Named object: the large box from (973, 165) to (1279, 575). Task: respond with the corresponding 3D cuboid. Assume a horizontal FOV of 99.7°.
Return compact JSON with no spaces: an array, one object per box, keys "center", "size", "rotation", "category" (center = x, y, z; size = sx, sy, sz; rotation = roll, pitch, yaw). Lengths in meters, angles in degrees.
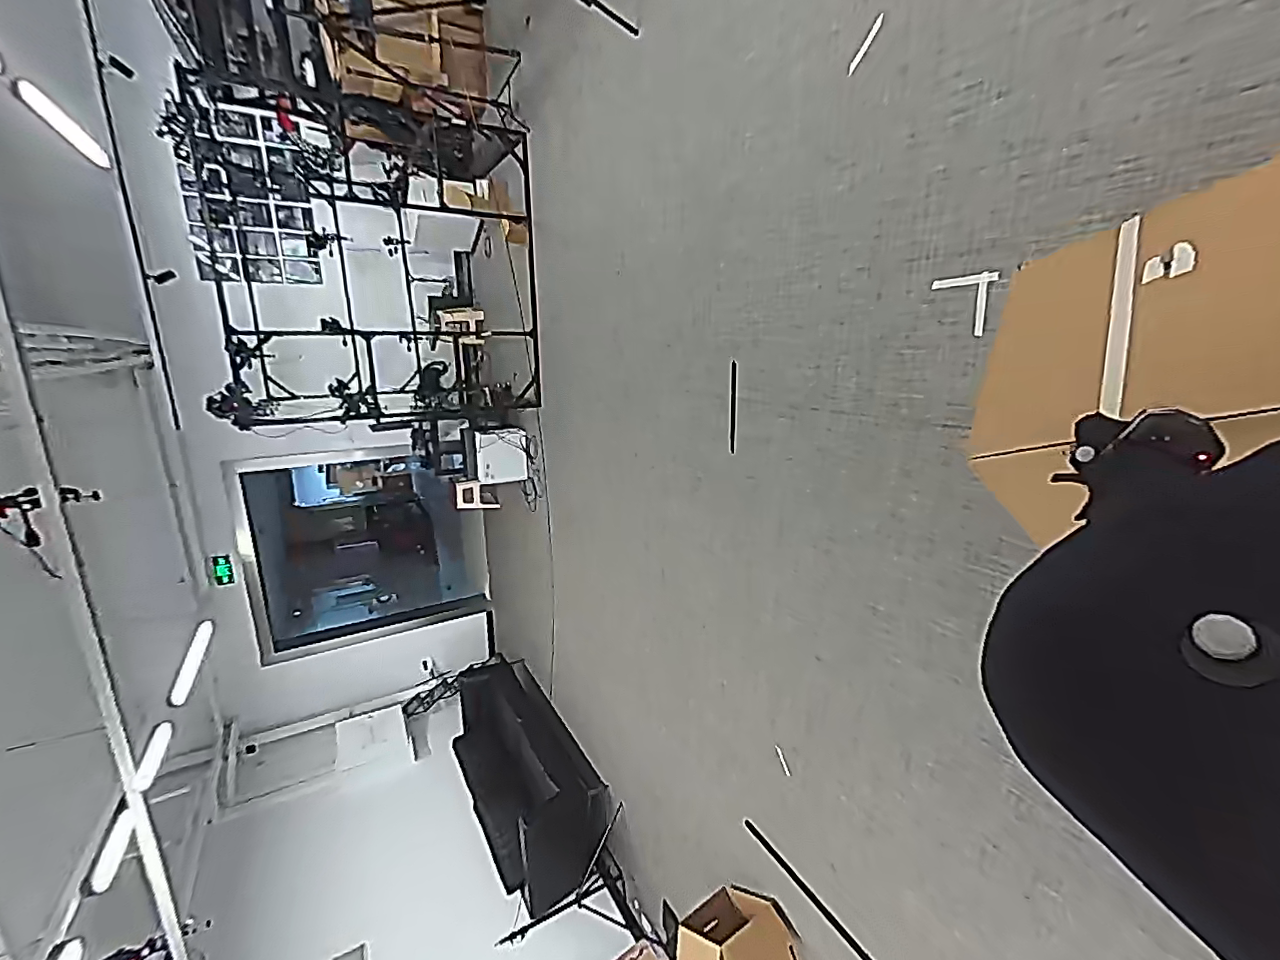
[{"center":[0.730,-0.118,0.745],"size":[0.320,0.320,0.408],"rotation":[-14,40,58],"category":"large box"}]
